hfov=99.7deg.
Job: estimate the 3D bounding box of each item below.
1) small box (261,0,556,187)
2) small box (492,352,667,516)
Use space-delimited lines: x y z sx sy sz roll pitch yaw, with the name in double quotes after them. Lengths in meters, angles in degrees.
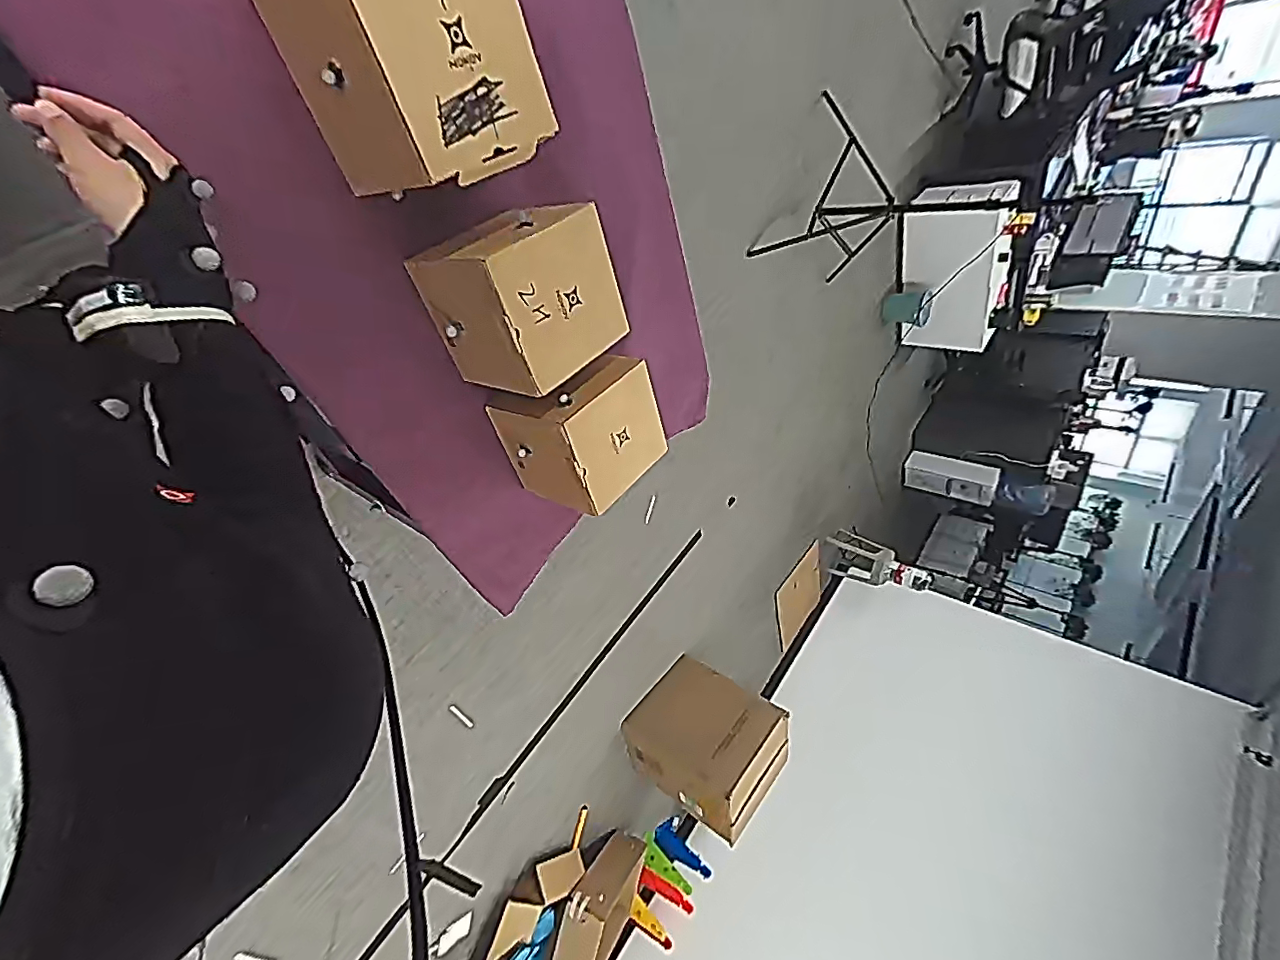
-0.218 -0.402 0.527 0.168 0.176 0.179 -44 134 -30 "small box"
-0.088 -0.079 0.818 0.179 0.176 0.168 -44 134 -31 "small box"
